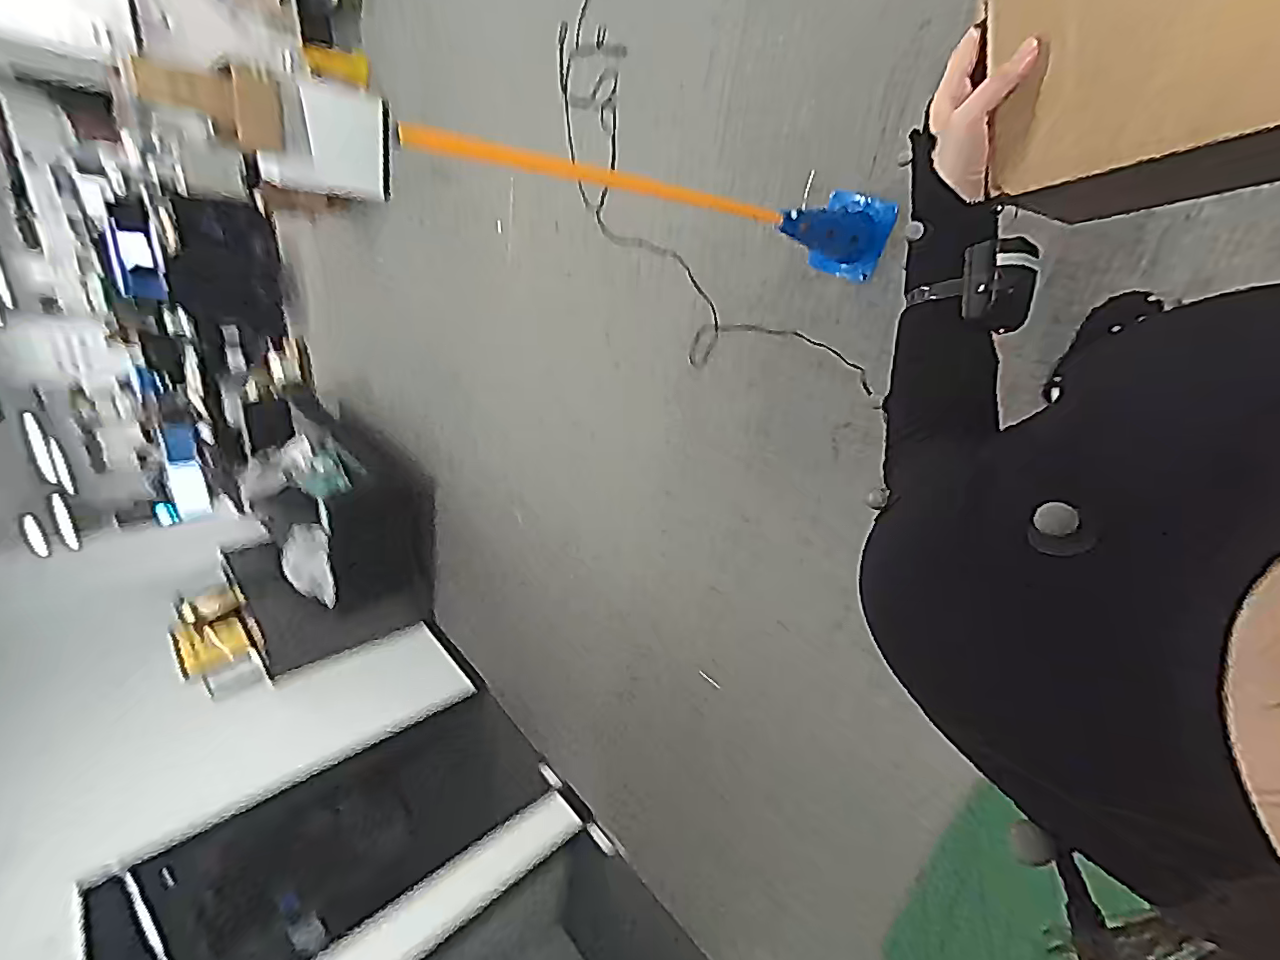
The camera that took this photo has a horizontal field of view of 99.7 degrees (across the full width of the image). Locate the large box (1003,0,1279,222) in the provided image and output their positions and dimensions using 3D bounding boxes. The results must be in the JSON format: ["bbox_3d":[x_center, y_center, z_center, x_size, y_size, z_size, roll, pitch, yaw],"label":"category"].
[{"bbox_3d":[0.505,-0.403,0.356,0.408,0.320,0.320,3,107,45],"label":"large box"}]

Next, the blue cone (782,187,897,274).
[{"bbox_3d":[0.455,-0.638,1.339,0.192,0.380,0.193,39,126,32],"label":"blue cone"}]
